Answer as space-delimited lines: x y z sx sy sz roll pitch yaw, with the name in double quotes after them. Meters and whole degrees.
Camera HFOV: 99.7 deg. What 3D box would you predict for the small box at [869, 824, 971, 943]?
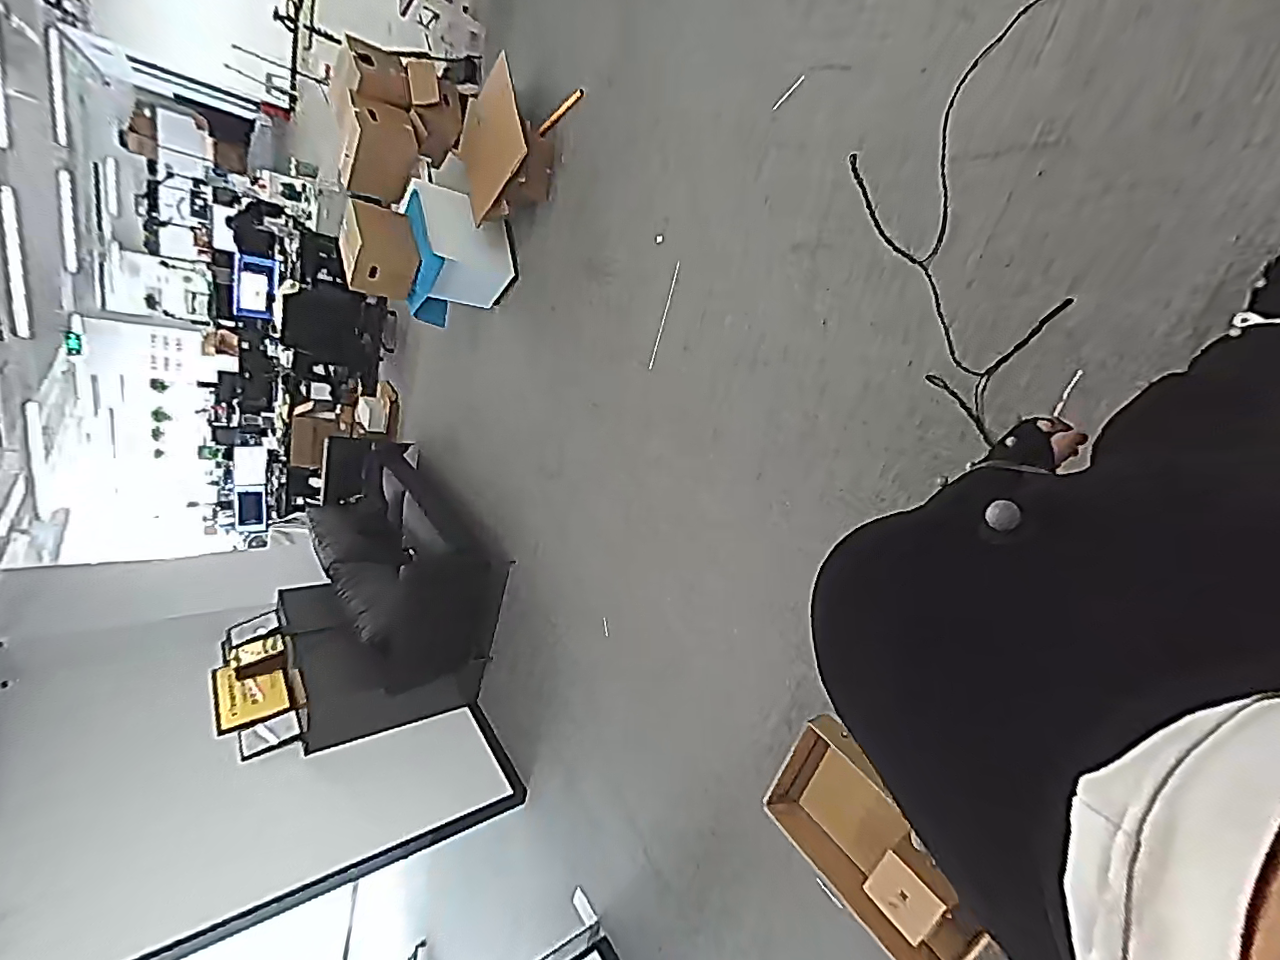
0.779 1.103 1.494 0.168 0.176 0.179 38 119 43 "small box"
